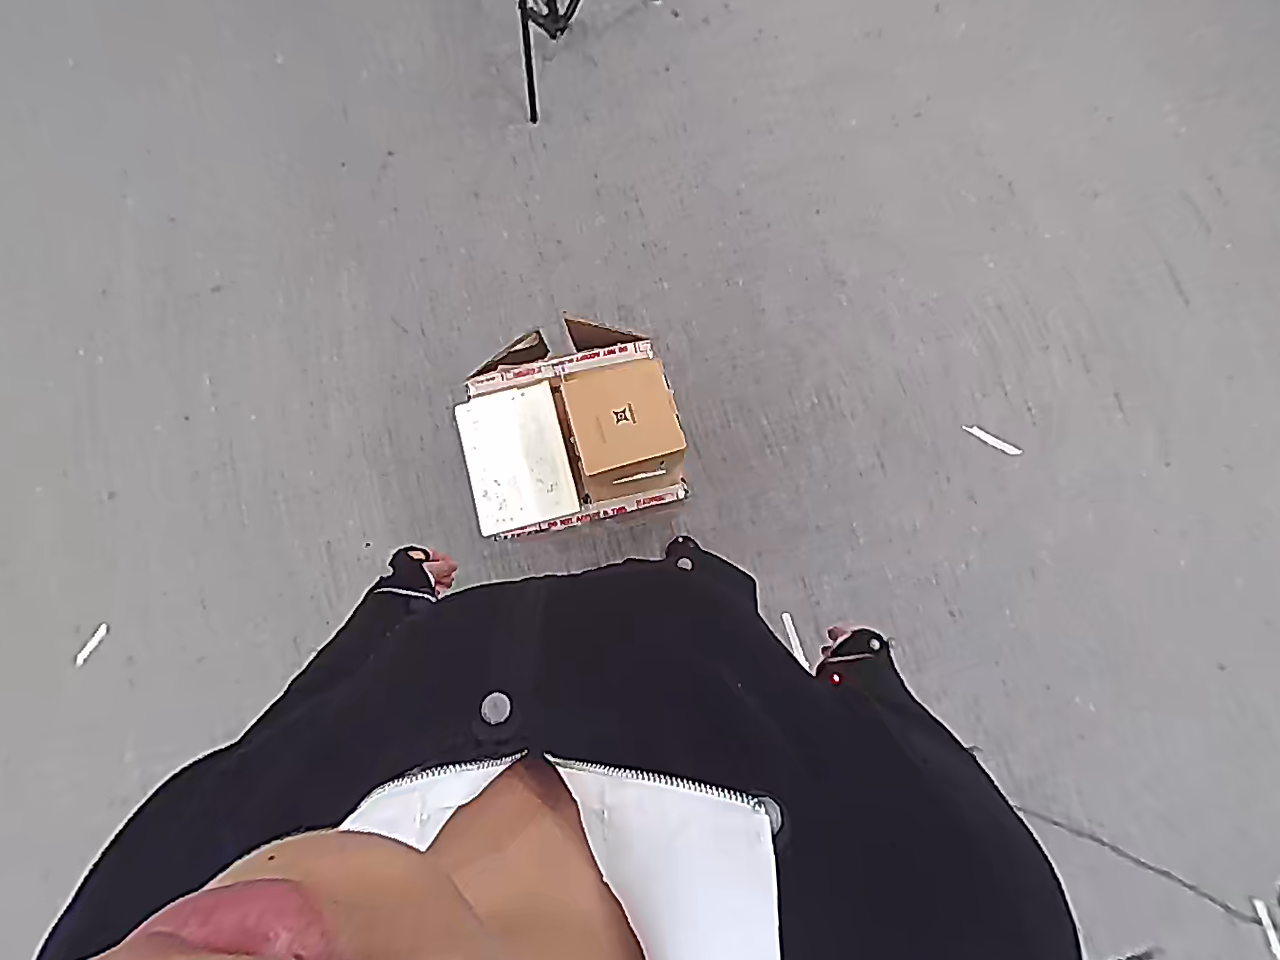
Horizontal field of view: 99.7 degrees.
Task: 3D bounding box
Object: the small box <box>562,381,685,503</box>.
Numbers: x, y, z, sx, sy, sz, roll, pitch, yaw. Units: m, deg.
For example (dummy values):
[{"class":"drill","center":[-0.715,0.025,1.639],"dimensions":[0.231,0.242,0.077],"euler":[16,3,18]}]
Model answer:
[{"class":"small box","center":[-0.030,-0.061,0.988],"dimensions":[0.179,0.176,0.168],"euler":[-17,83,-1]}]
